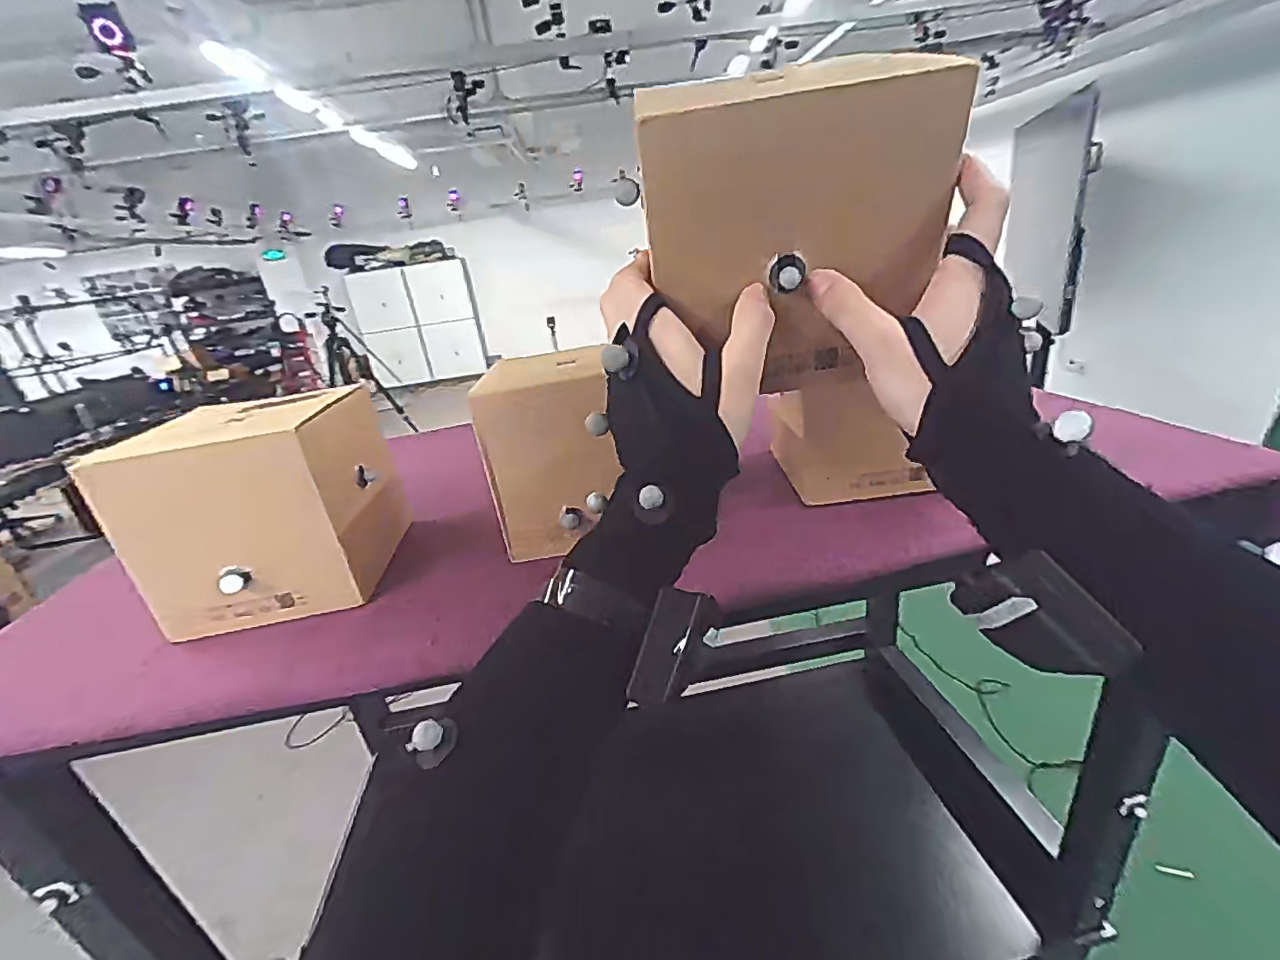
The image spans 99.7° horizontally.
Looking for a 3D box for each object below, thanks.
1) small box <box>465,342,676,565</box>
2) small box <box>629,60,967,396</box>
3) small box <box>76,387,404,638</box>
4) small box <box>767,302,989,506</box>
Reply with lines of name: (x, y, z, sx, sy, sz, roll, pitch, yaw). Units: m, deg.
small box: (-0.061, -0.035, 0.556, 0.168, 0.176, 0.179, -10, 23, -1)
small box: (0.087, -0.169, 0.374, 0.168, 0.176, 0.179, -5, 39, 5)
small box: (-0.344, 0.021, 0.516, 0.168, 0.176, 0.179, -10, 23, -5)
small box: (0.229, -0.086, 0.570, 0.168, 0.176, 0.179, -8, 21, 4)
